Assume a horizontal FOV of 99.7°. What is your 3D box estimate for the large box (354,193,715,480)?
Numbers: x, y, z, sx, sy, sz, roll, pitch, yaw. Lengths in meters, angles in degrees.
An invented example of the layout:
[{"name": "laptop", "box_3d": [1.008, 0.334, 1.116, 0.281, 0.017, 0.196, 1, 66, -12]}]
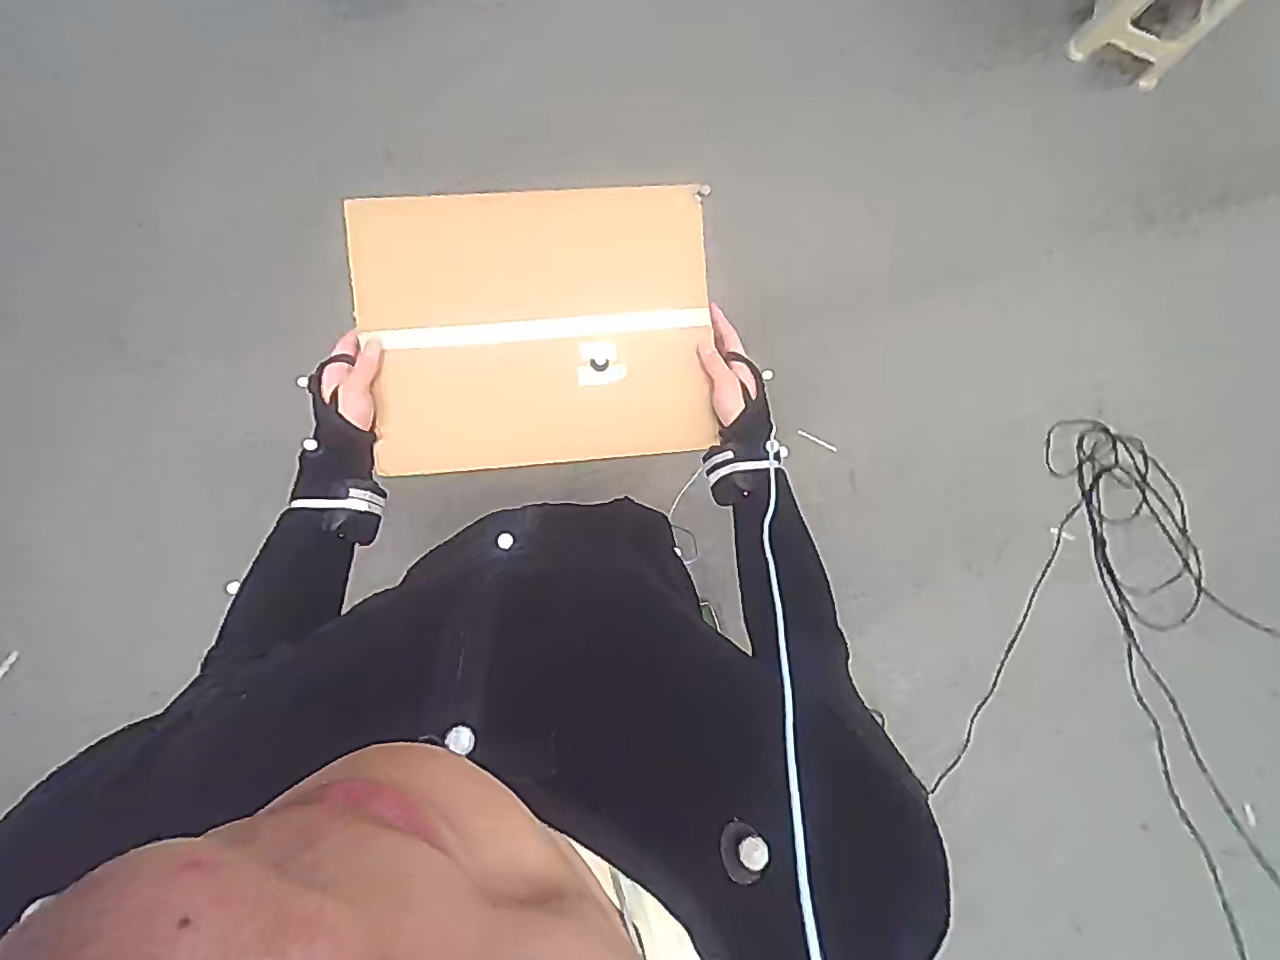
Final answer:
[{"name": "large box", "box_3d": [-0.133, -0.181, 0.792, 0.408, 0.320, 0.320, -6, 94, -6]}]
